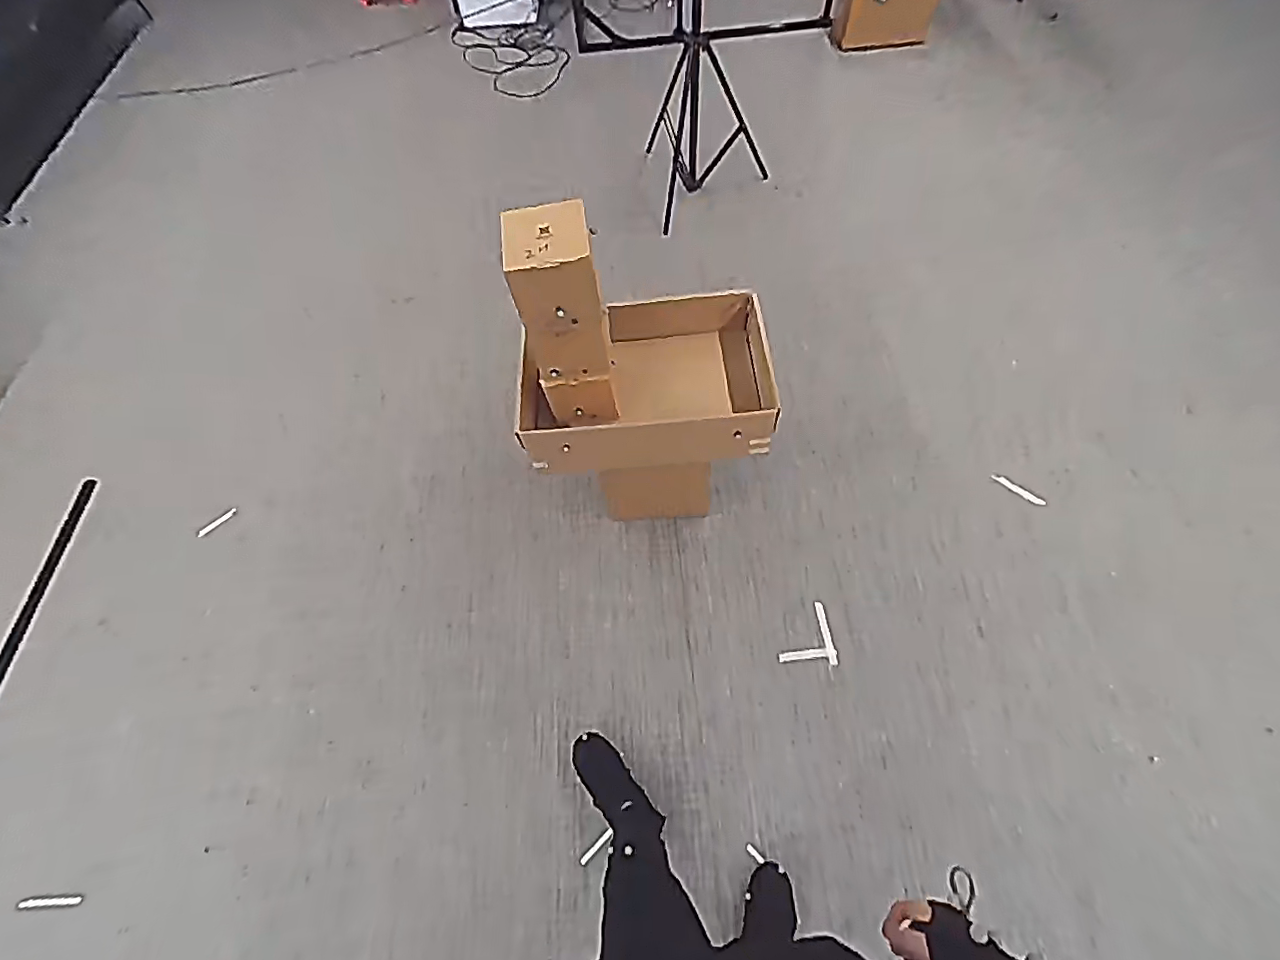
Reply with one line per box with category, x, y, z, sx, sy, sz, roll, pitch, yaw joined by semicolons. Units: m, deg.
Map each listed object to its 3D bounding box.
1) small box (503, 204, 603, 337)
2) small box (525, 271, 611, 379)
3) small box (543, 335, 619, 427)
small box;-0.174;-0.419;1.095;0.168;0.176;0.179;-10;62;1
small box;-0.161;-0.347;1.243;0.168;0.176;0.179;-6;61;2
small box;-0.148;-0.257;1.380;0.168;0.176;0.179;-7;61;2
